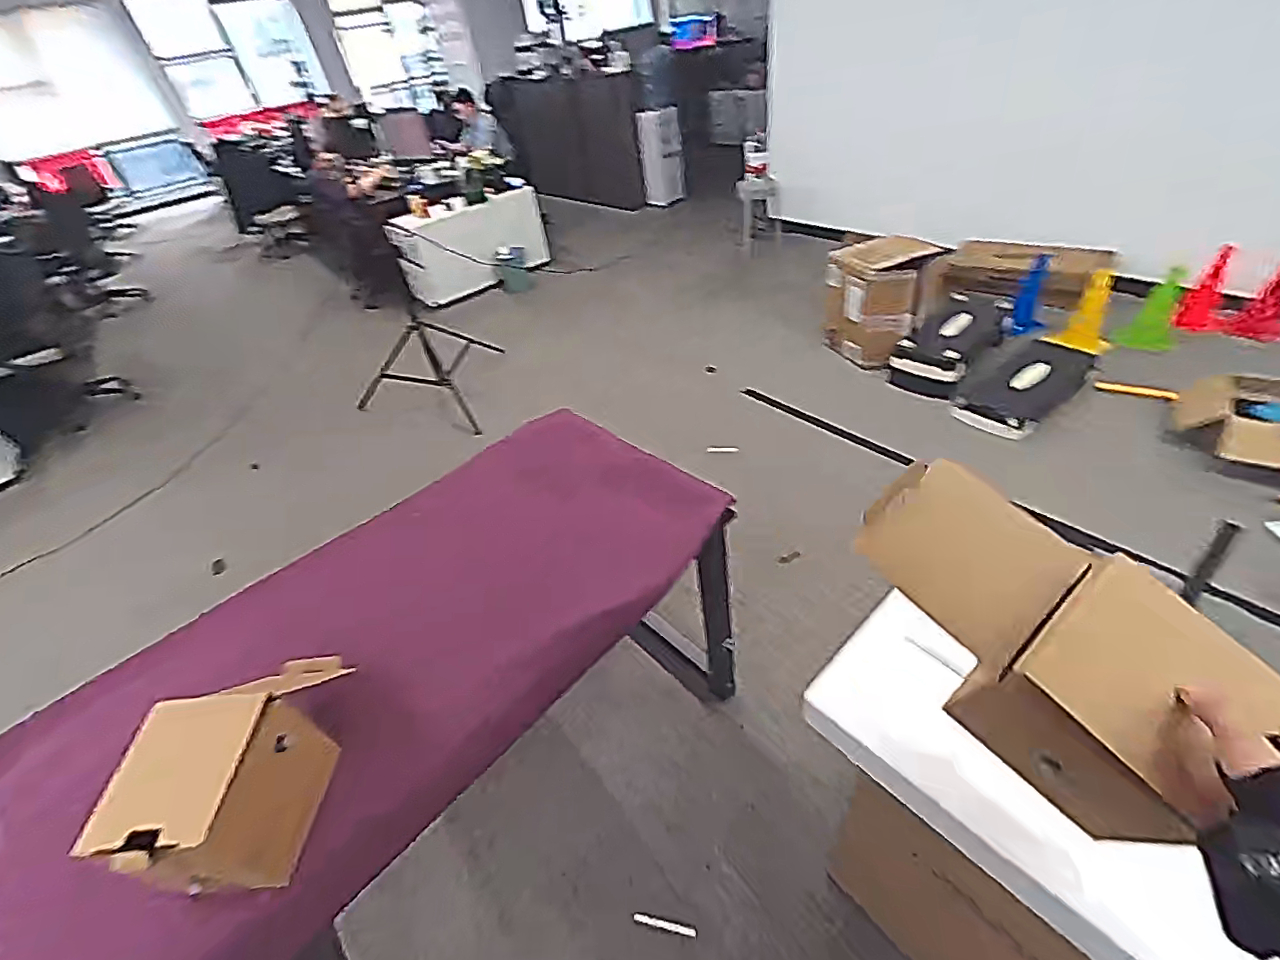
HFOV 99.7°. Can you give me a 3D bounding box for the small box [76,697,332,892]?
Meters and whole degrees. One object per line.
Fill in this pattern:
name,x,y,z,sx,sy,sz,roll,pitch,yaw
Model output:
small box,-0.550,0.417,0.721,0.168,0.176,0.179,-8,40,6
